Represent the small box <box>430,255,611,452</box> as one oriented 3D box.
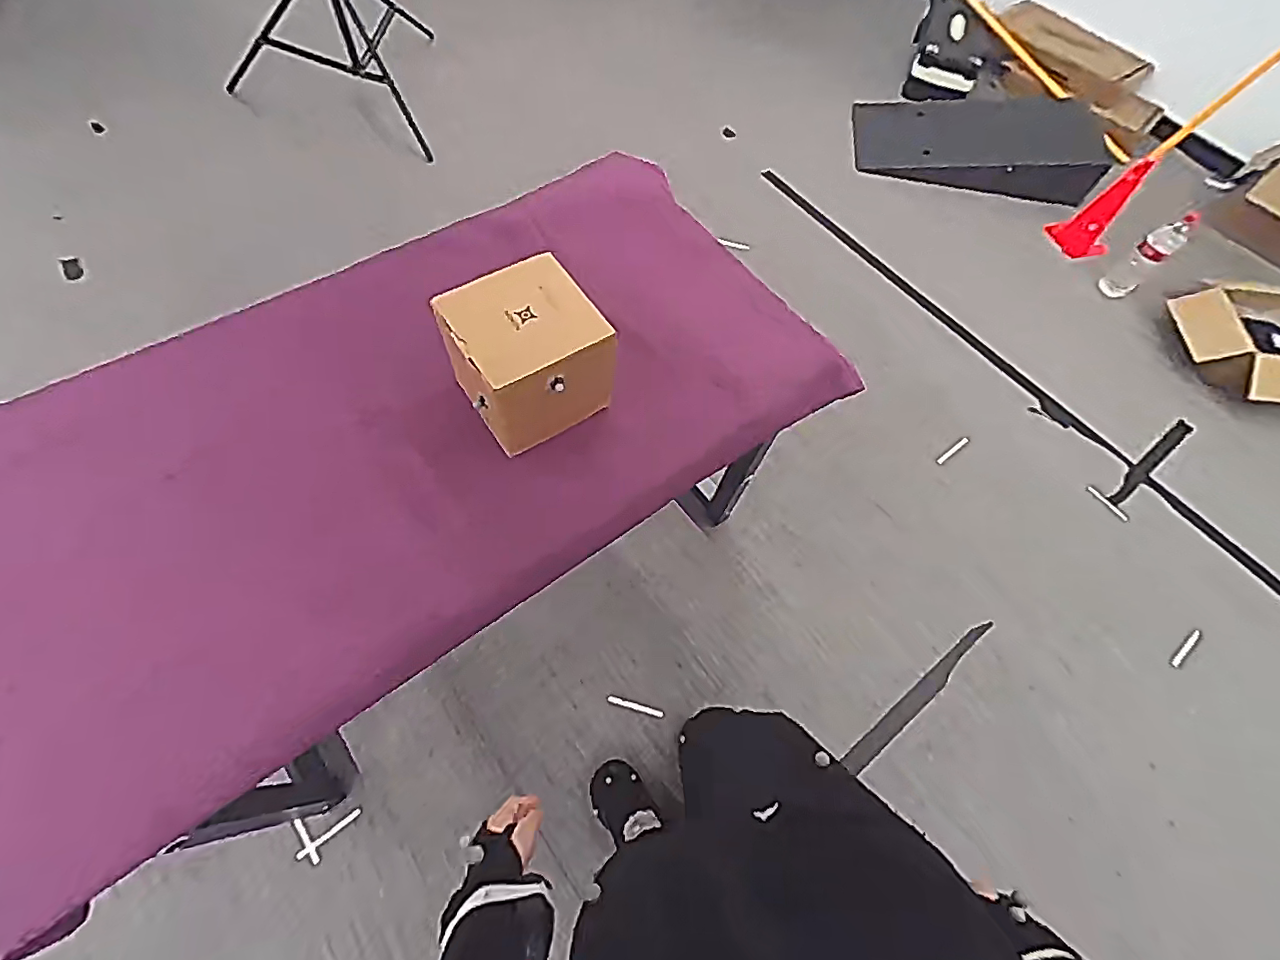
[{"bbox_3d":[-0.156,-0.168,0.752,0.179,0.176,0.168,-31,71,-19],"label":"small box"}]
